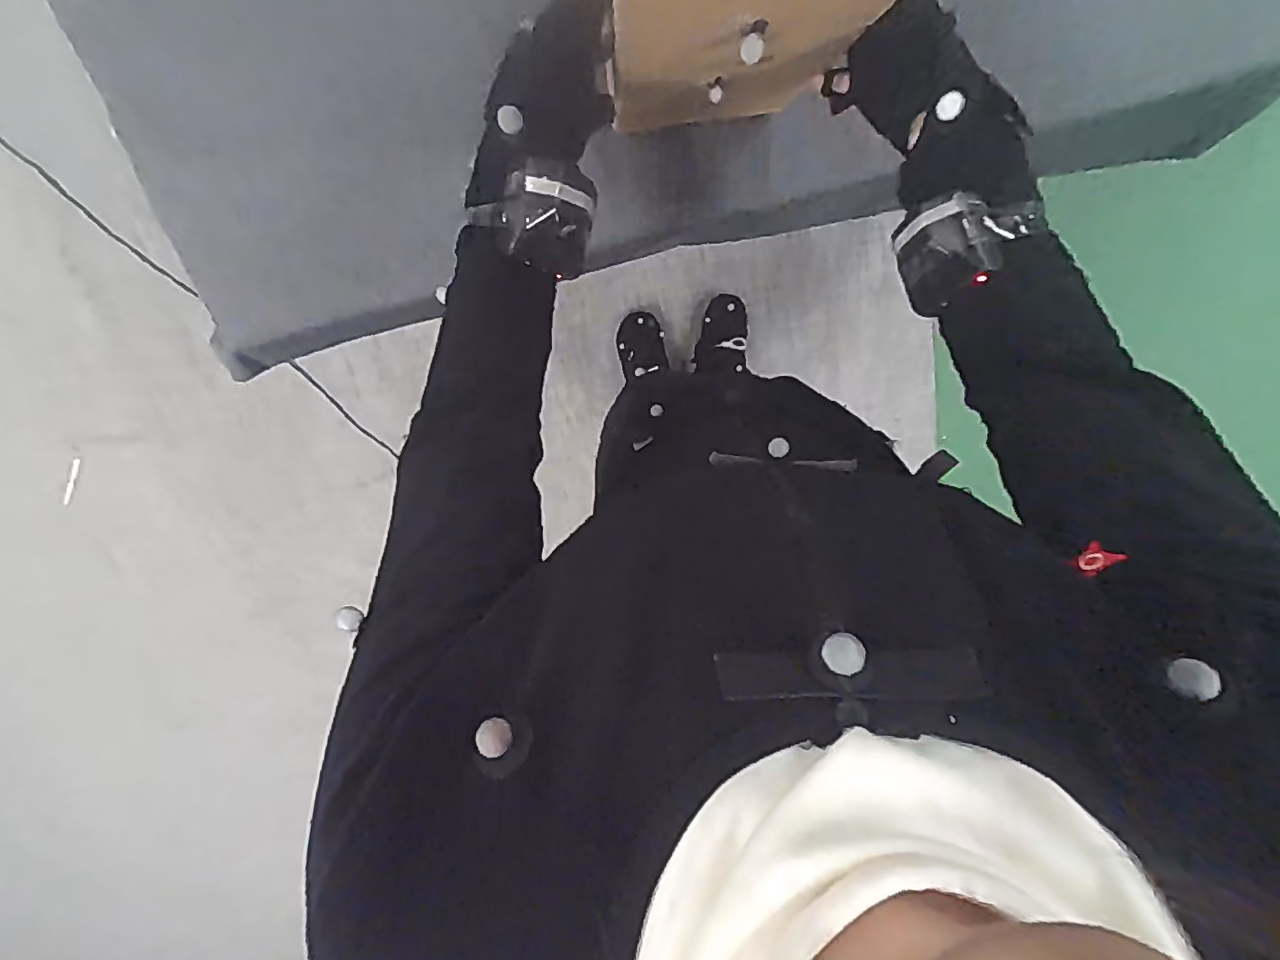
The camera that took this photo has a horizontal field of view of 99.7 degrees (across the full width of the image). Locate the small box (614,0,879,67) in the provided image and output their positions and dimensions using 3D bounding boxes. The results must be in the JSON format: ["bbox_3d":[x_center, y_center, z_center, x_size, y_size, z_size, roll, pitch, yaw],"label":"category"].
[{"bbox_3d":[0.062,-0.358,0.298,0.168,0.176,0.179,-6,112,0],"label":"small box"}]

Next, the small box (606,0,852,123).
[{"bbox_3d":[0.059,-0.419,0.450,0.179,0.176,0.168,-8,112,-1],"label":"small box"}]
